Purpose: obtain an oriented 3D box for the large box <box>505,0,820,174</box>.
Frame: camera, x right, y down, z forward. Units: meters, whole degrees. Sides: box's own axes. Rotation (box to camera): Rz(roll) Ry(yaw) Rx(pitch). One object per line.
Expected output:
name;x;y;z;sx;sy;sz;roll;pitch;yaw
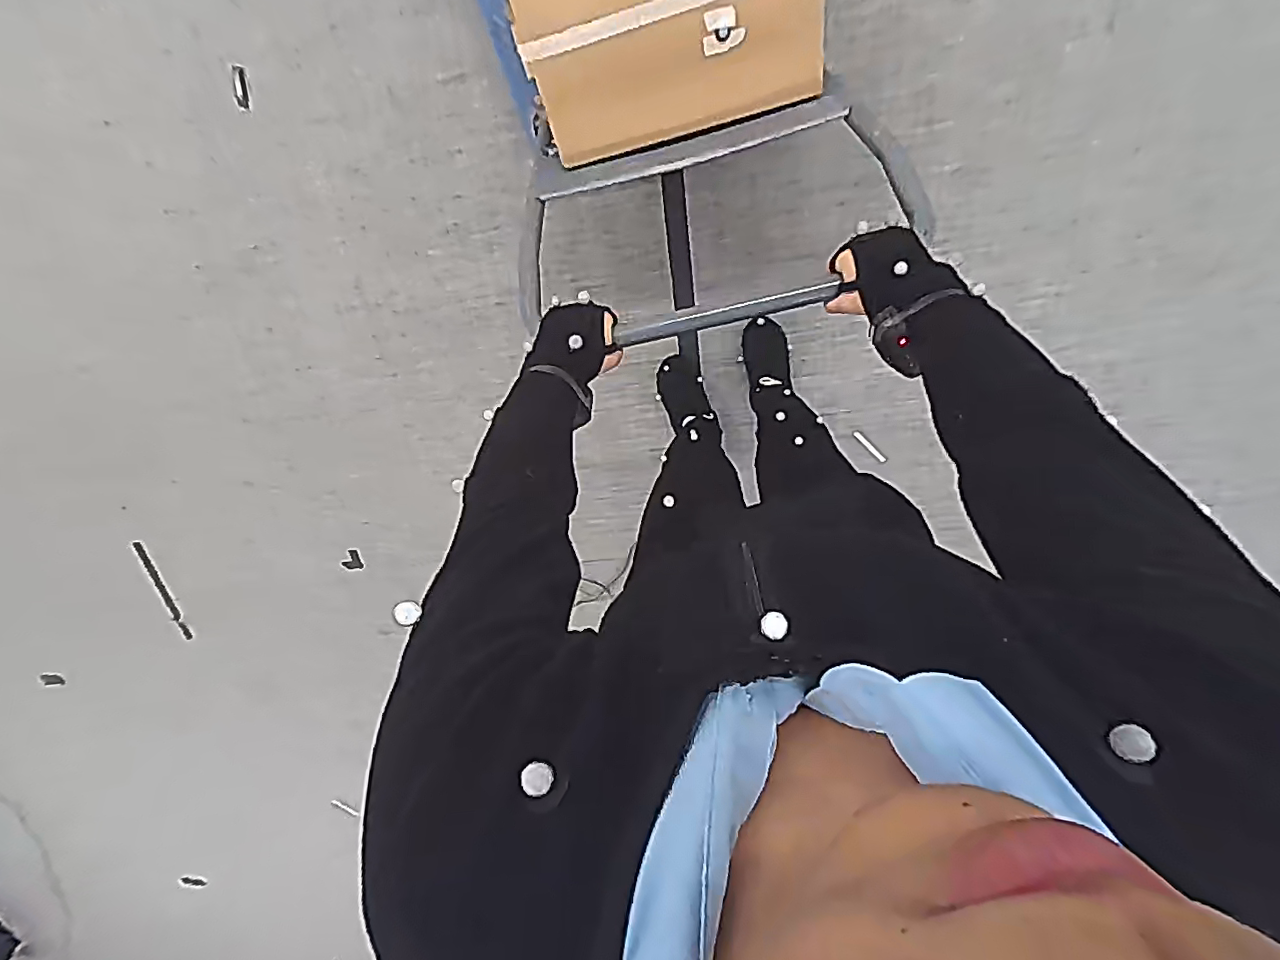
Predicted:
large box;0.024;-0.729;0.815;0.408;0.320;0.320;-12;137;9
